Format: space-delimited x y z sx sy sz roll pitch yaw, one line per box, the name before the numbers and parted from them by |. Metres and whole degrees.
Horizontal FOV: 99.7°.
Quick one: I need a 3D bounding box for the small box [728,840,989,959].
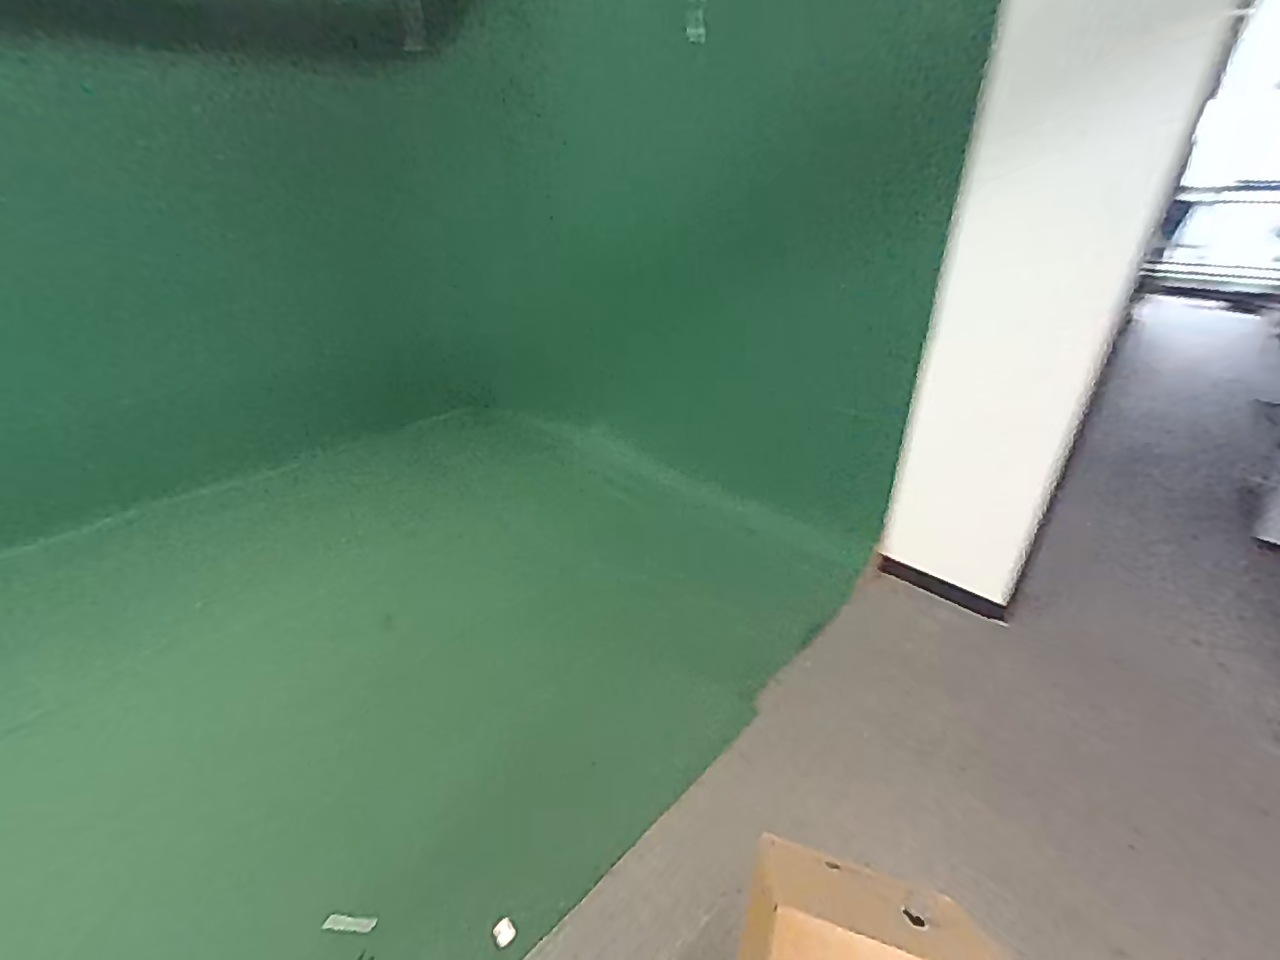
small box | 0.148 0.397 0.385 0.168 0.176 0.179 13 75 12
